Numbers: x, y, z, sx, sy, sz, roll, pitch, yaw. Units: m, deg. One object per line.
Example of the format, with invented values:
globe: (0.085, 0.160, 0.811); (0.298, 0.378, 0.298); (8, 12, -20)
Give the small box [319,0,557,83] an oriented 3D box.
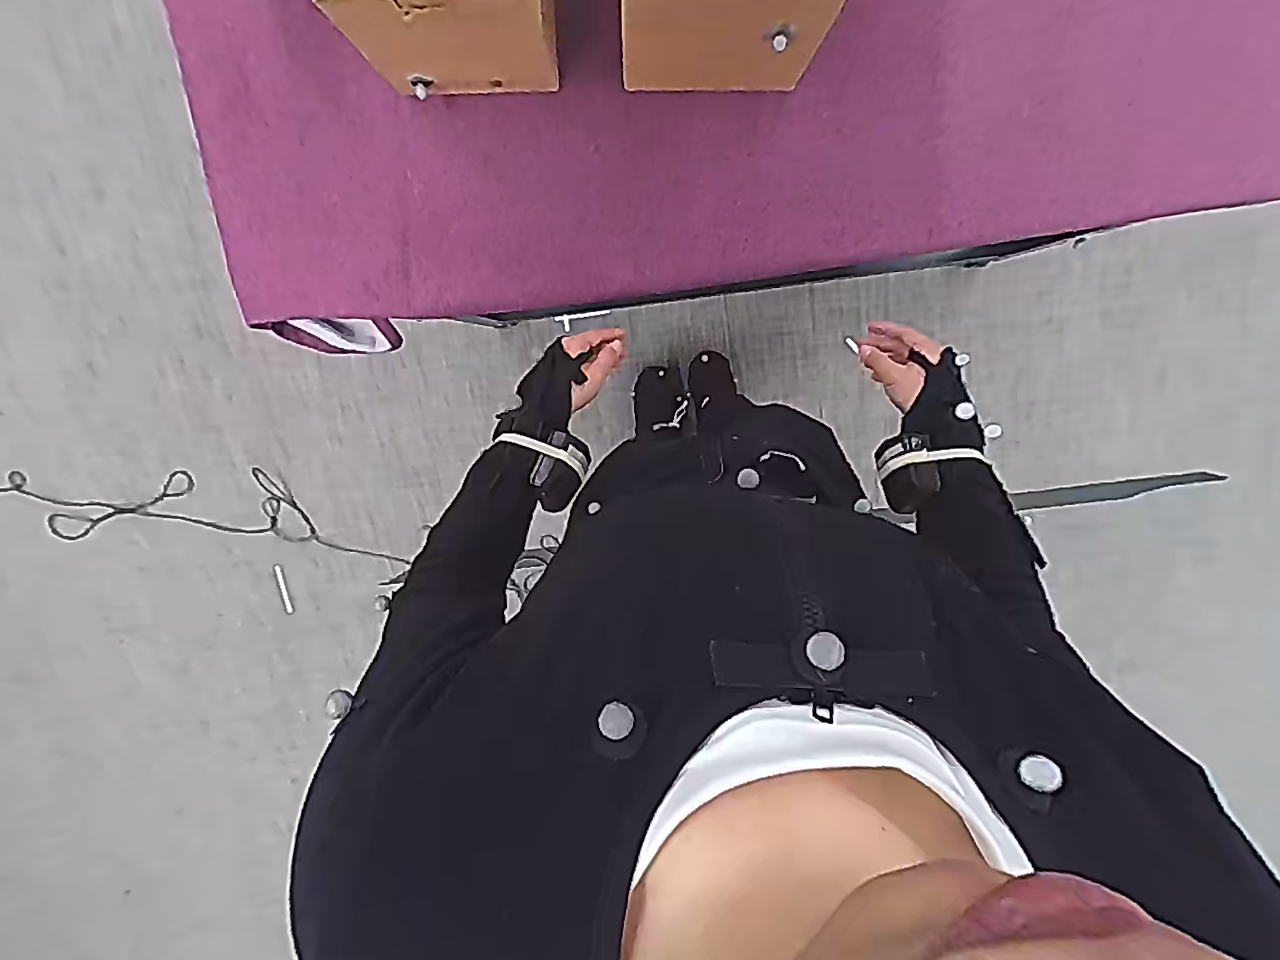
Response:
small box: (-0.166, -0.466, 0.456); (0.168, 0.176, 0.179); (-2, 103, 0)
